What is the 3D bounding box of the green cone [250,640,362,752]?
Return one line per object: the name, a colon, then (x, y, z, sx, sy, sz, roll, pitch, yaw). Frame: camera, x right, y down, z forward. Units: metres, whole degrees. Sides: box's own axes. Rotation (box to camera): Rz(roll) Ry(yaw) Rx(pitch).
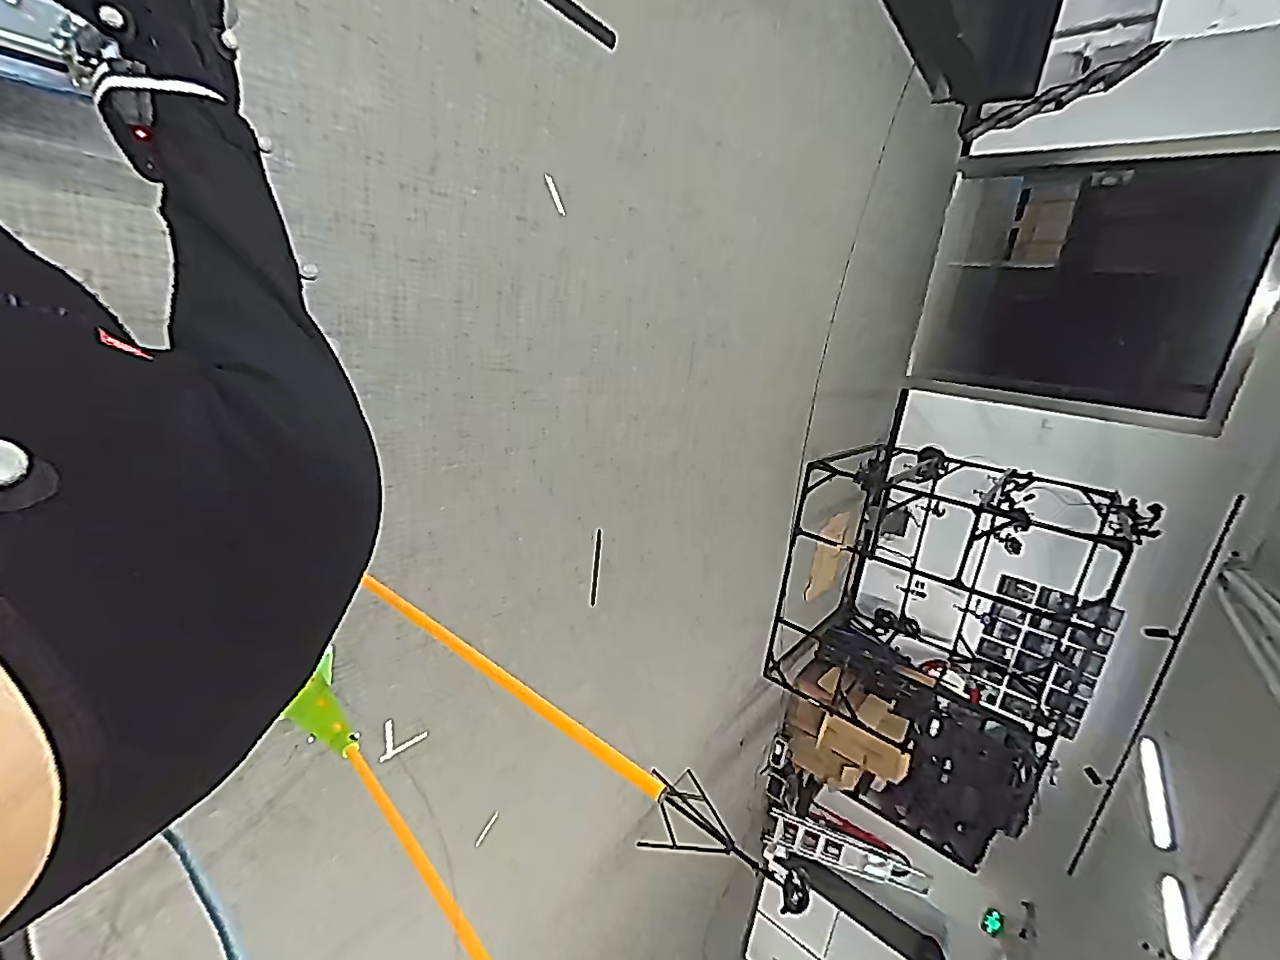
green cone: (-0.853, 0.614, 1.437, 0.202, 0.368, 0.200, -7, 111, -53)
